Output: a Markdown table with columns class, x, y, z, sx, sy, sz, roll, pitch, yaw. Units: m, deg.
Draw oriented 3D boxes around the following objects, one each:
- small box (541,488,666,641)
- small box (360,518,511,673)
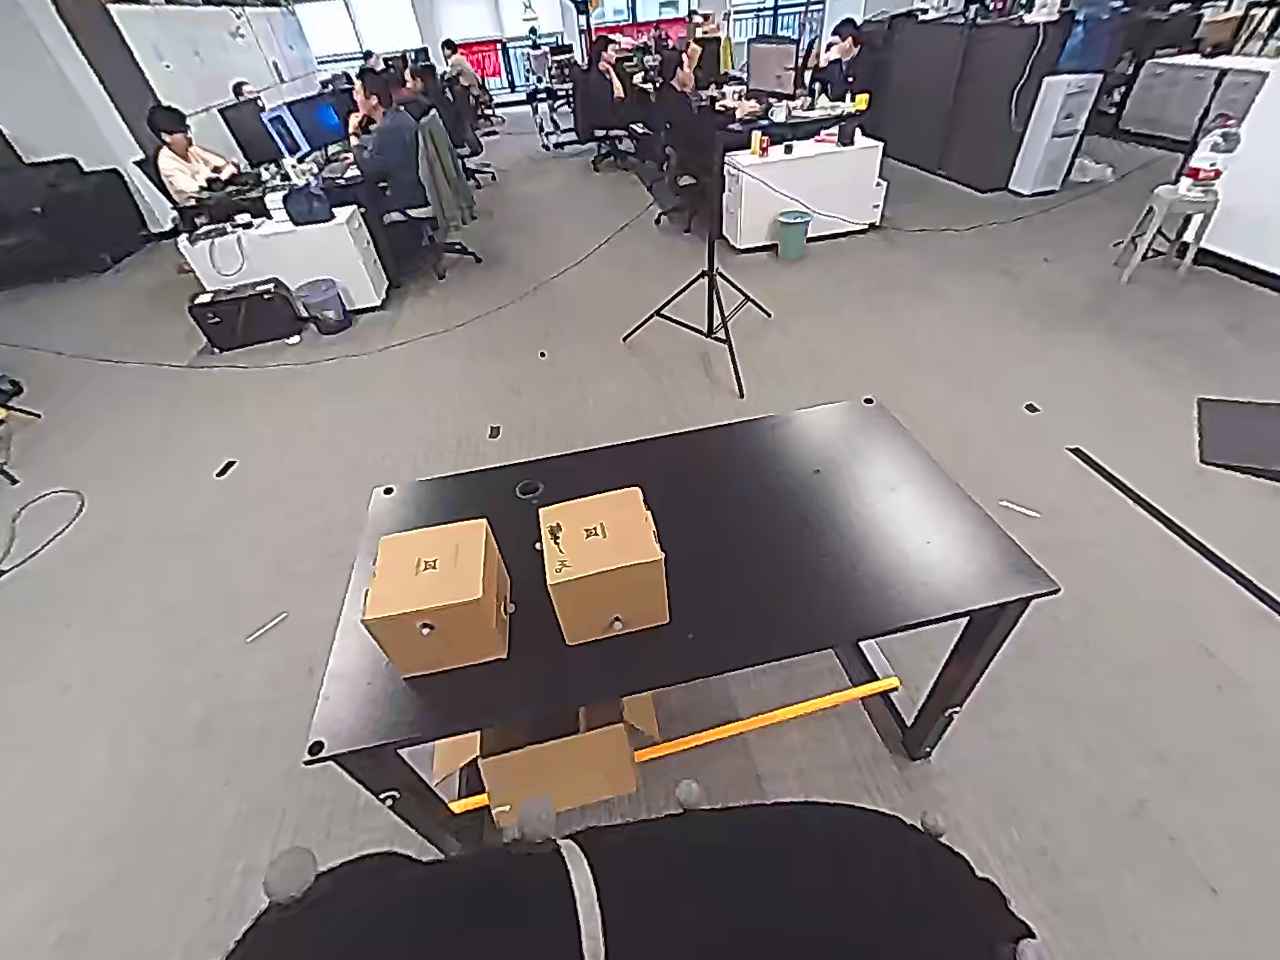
| class | x | y | z | sx | sy | sz | roll | pitch | yaw |
| --- | --- | --- | --- | --- | --- | --- | --- | --- | --- |
| small box | -0.058 | 0.141 | 0.897 | 0.179 | 0.176 | 0.168 | -12 | 42 | -6 |
| small box | -0.316 | 0.189 | 0.876 | 0.179 | 0.176 | 0.168 | -10 | 43 | -5 |
